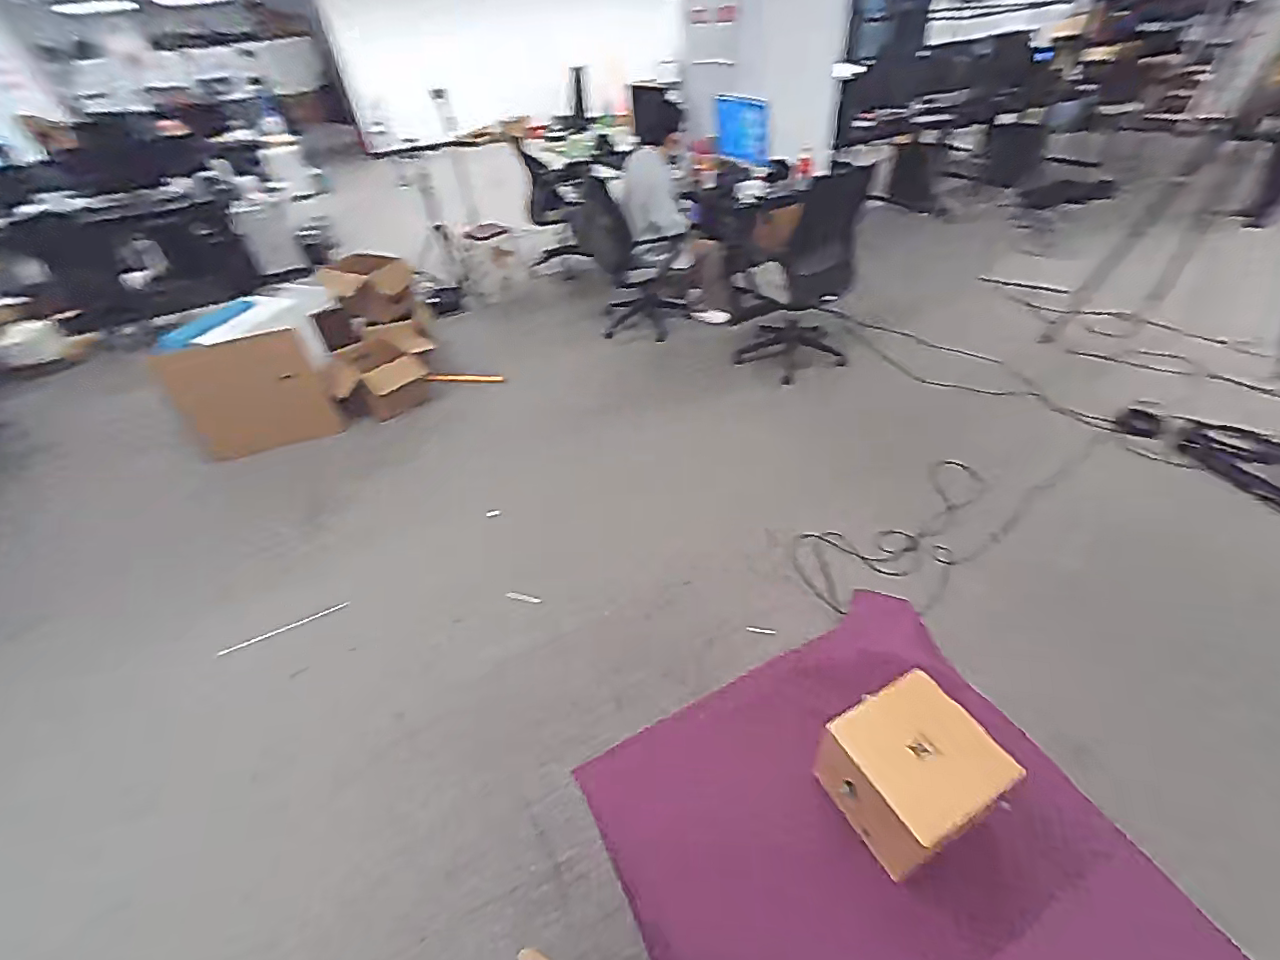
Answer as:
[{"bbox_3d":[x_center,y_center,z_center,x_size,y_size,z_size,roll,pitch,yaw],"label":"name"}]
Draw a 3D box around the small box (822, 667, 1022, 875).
[{"bbox_3d":[0.375,0.407,0.757,0.179,0.176,0.168,-21,43,-18],"label":"small box"}]
